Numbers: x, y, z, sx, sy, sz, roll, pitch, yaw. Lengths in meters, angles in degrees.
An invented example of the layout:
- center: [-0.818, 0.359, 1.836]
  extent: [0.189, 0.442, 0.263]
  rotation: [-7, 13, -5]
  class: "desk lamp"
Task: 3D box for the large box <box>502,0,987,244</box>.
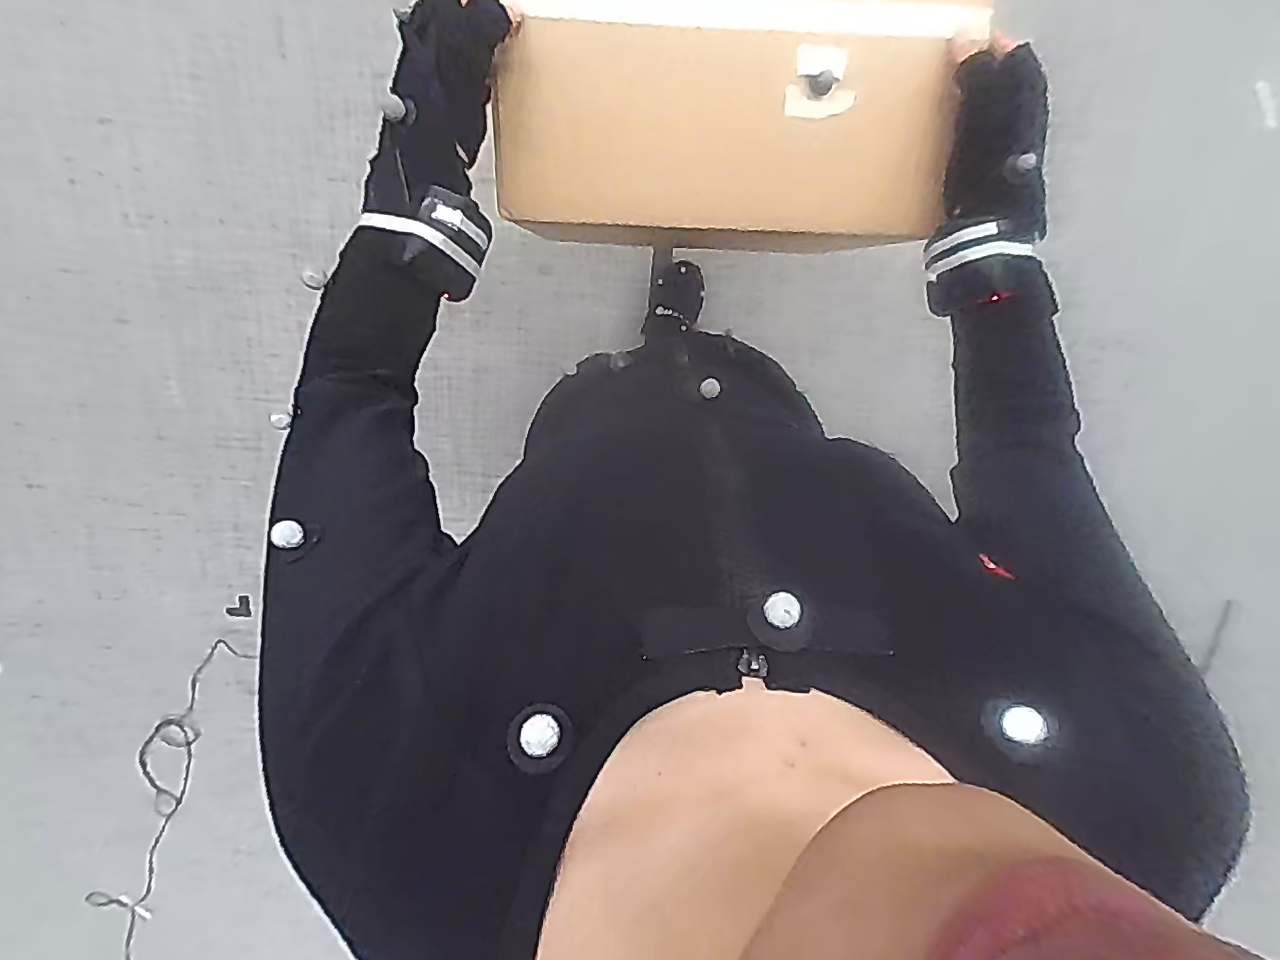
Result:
- center: [0.077, -0.432, 0.578]
  extent: [0.408, 0.320, 0.320]
  rotation: [0, 111, -3]
  class: "large box"
